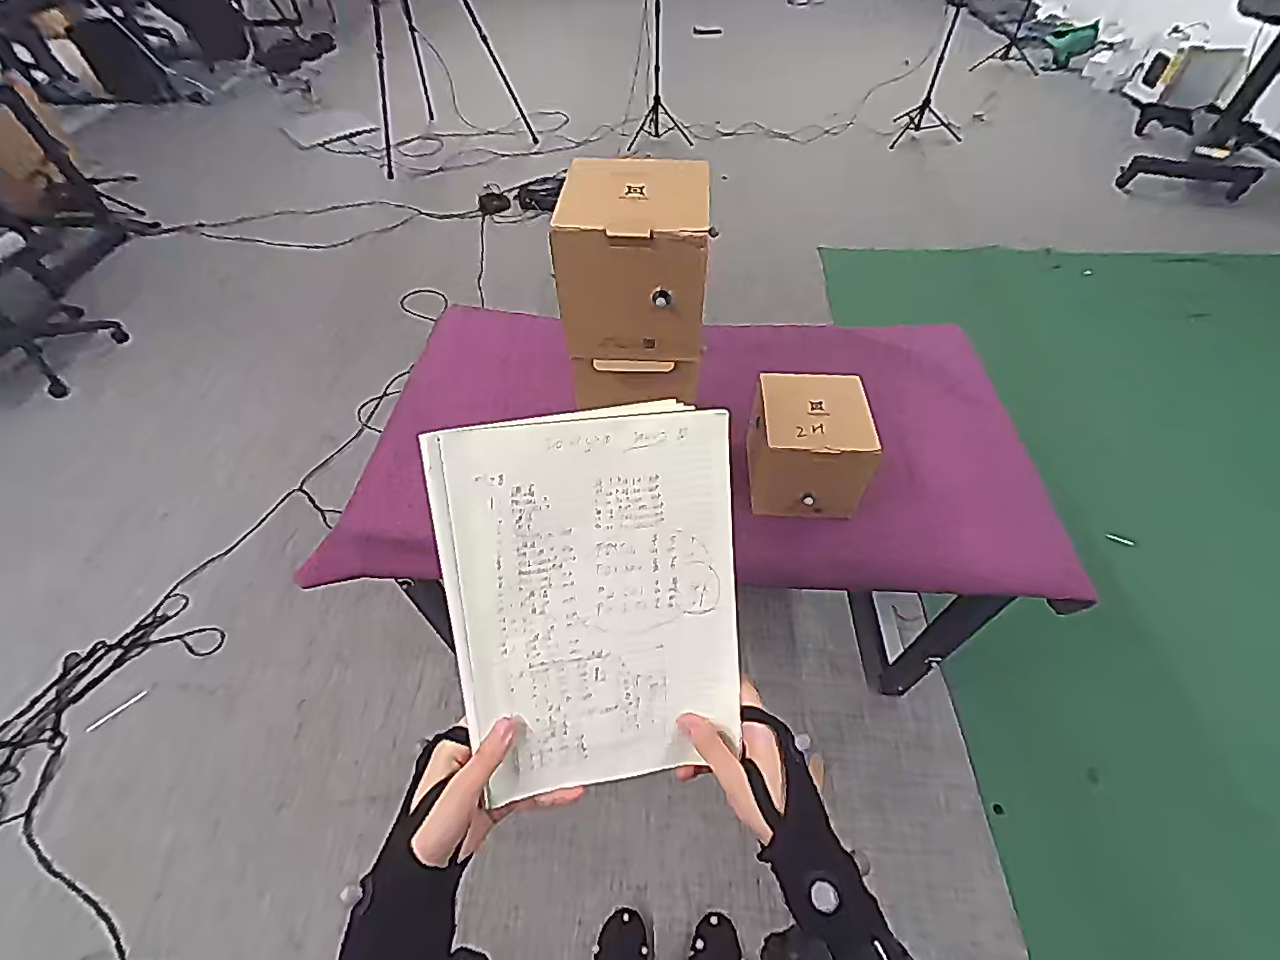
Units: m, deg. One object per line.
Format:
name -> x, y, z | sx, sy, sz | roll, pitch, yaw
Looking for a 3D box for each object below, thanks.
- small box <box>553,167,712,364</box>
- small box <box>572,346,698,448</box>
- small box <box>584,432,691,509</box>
small box -> -0.001, -0.261, 0.669 | 0.168, 0.176, 0.179 | 4, 51, 3
small box -> 0.002, -0.163, 0.799 | 0.168, 0.176, 0.179 | 3, 51, 3
small box -> 0.004, -0.065, 0.932 | 0.168, 0.176, 0.179 | 3, 52, 3
